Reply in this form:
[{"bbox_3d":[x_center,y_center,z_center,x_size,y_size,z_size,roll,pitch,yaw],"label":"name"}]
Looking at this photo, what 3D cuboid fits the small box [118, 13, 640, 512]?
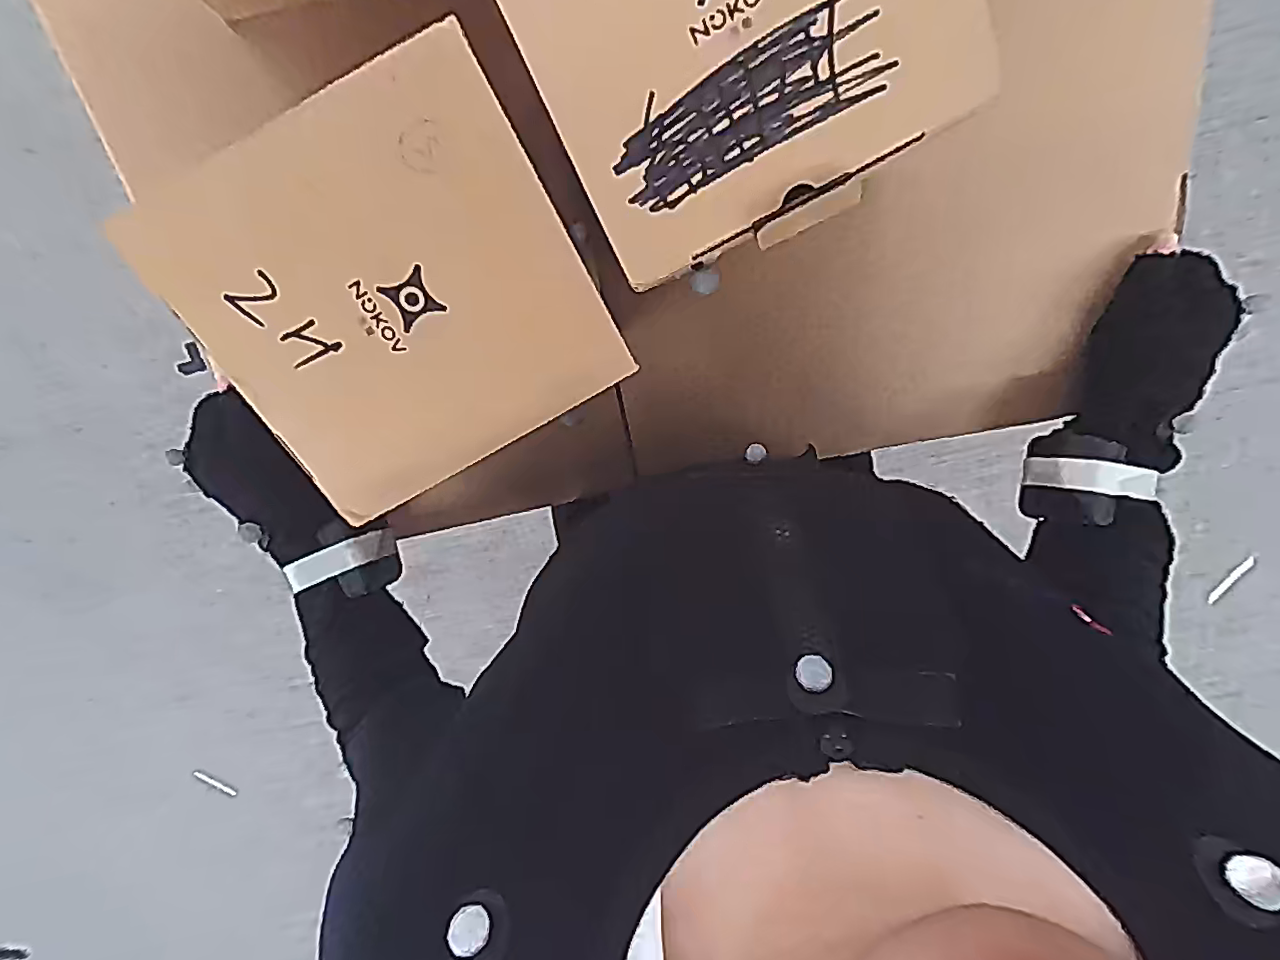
[{"bbox_3d":[-0.121,-0.115,0.327,0.179,0.176,0.168,-28,111,3],"label":"small box"}]
